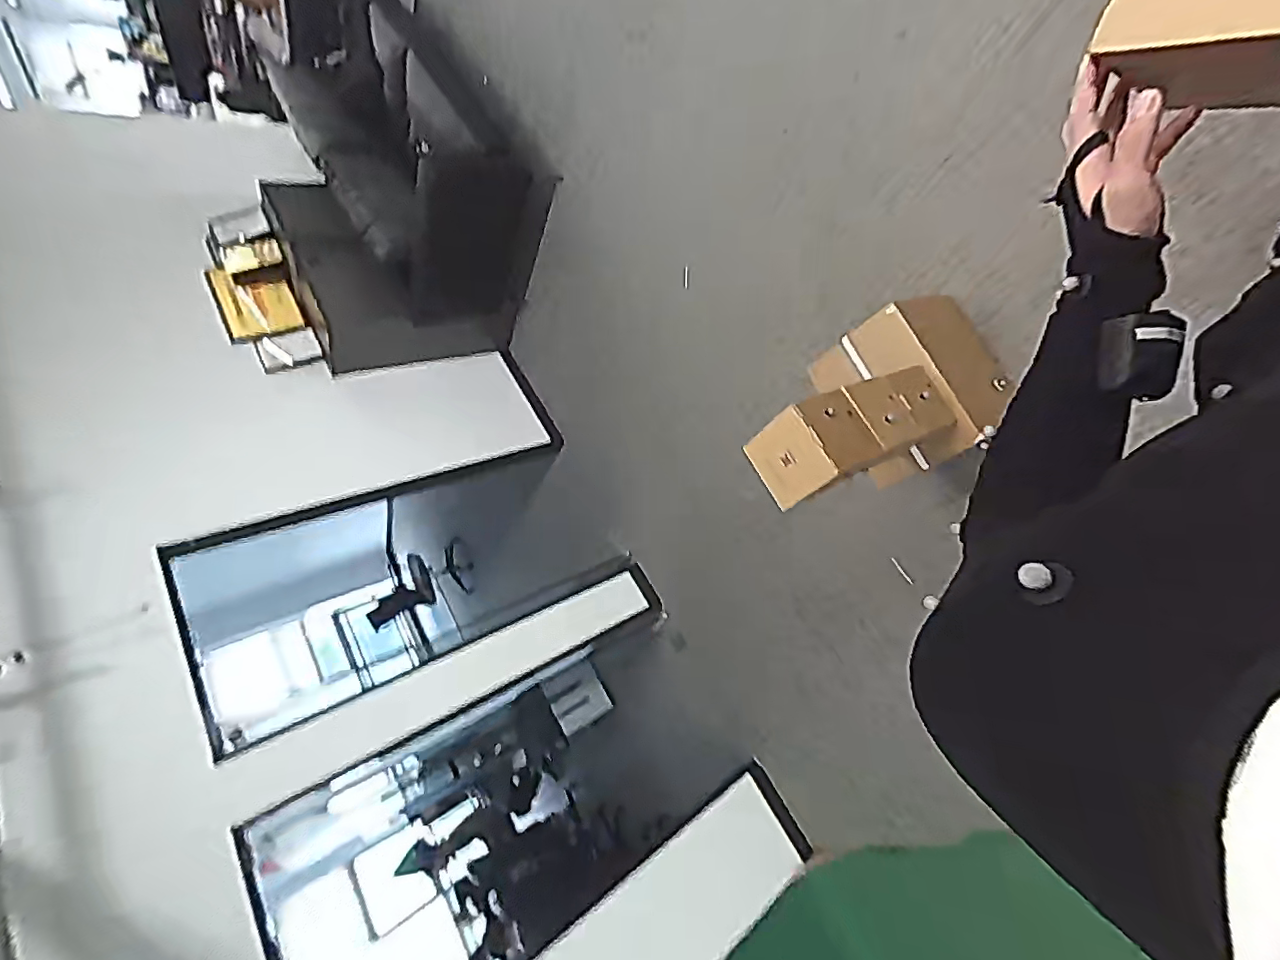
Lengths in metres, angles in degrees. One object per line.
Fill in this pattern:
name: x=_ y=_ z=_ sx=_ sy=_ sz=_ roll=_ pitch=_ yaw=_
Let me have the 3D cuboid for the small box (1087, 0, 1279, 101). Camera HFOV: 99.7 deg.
small box: x=0.473 y=-0.375 z=0.363 sx=0.179 sy=0.176 sz=0.168 roll=46 pitch=131 yaw=47

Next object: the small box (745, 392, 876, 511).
small box: x=0.362 y=-0.063 z=1.134 sx=0.168 sy=0.176 sz=0.179 roll=60 pitch=145 yaw=15

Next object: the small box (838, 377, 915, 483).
small box: x=0.489 y=-0.112 z=1.224 sx=0.168 sy=0.176 sz=0.179 roll=60 pitch=144 yaw=13

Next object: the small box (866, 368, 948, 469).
small box: x=0.614 y=-0.153 z=1.319 sx=0.168 sy=0.176 sz=0.179 roll=61 pitch=143 yaw=13
